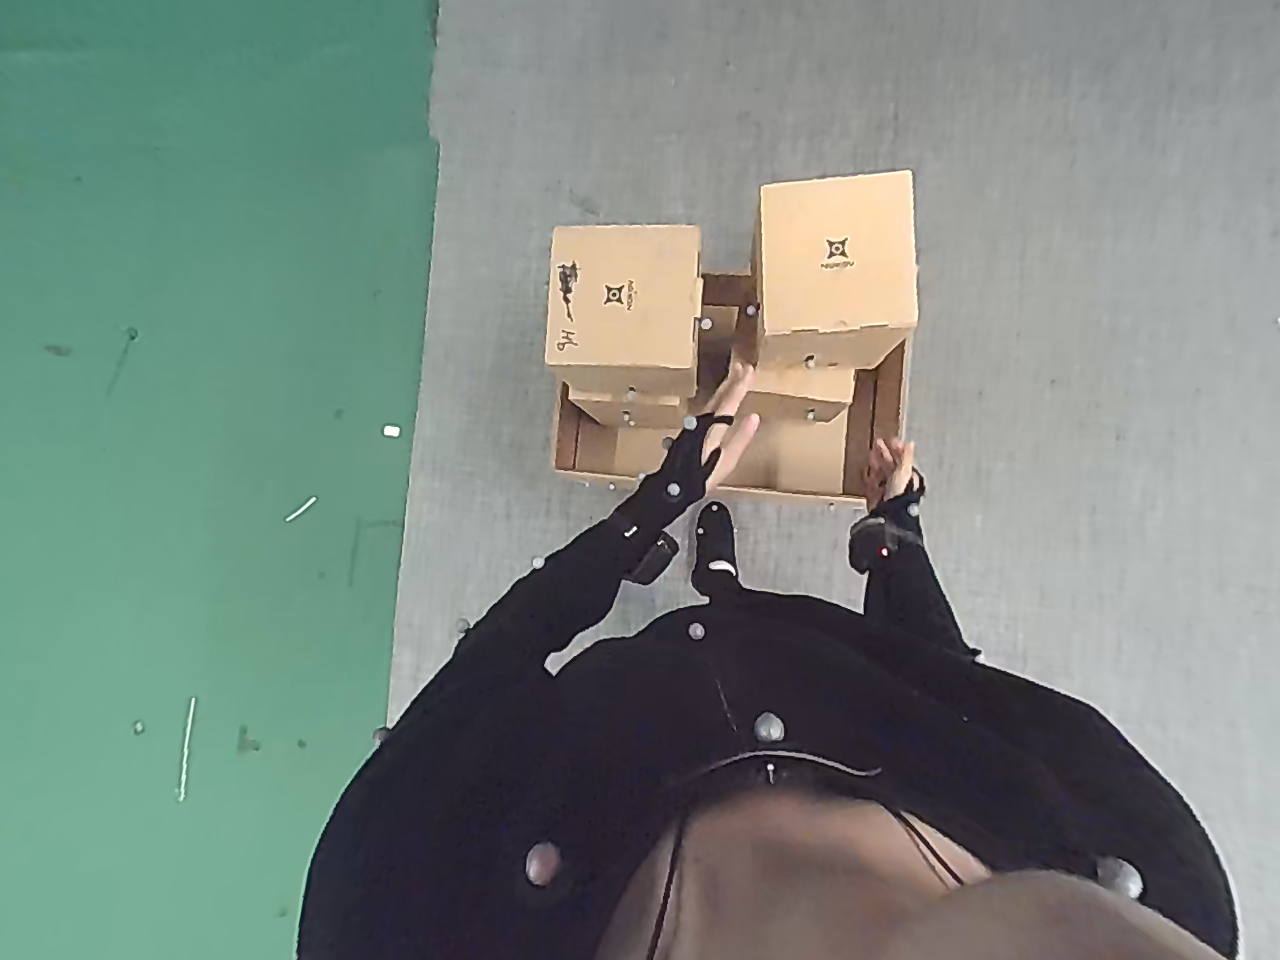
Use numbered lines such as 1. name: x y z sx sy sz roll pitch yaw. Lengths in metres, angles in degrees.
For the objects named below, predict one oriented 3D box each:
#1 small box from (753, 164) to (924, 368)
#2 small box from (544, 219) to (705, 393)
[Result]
1. small box: 0.229 -0.248 0.665 0.168 0.176 0.179 -1 86 8
2. small box: -0.010 -0.211 0.692 0.179 0.176 0.168 3 87 7
